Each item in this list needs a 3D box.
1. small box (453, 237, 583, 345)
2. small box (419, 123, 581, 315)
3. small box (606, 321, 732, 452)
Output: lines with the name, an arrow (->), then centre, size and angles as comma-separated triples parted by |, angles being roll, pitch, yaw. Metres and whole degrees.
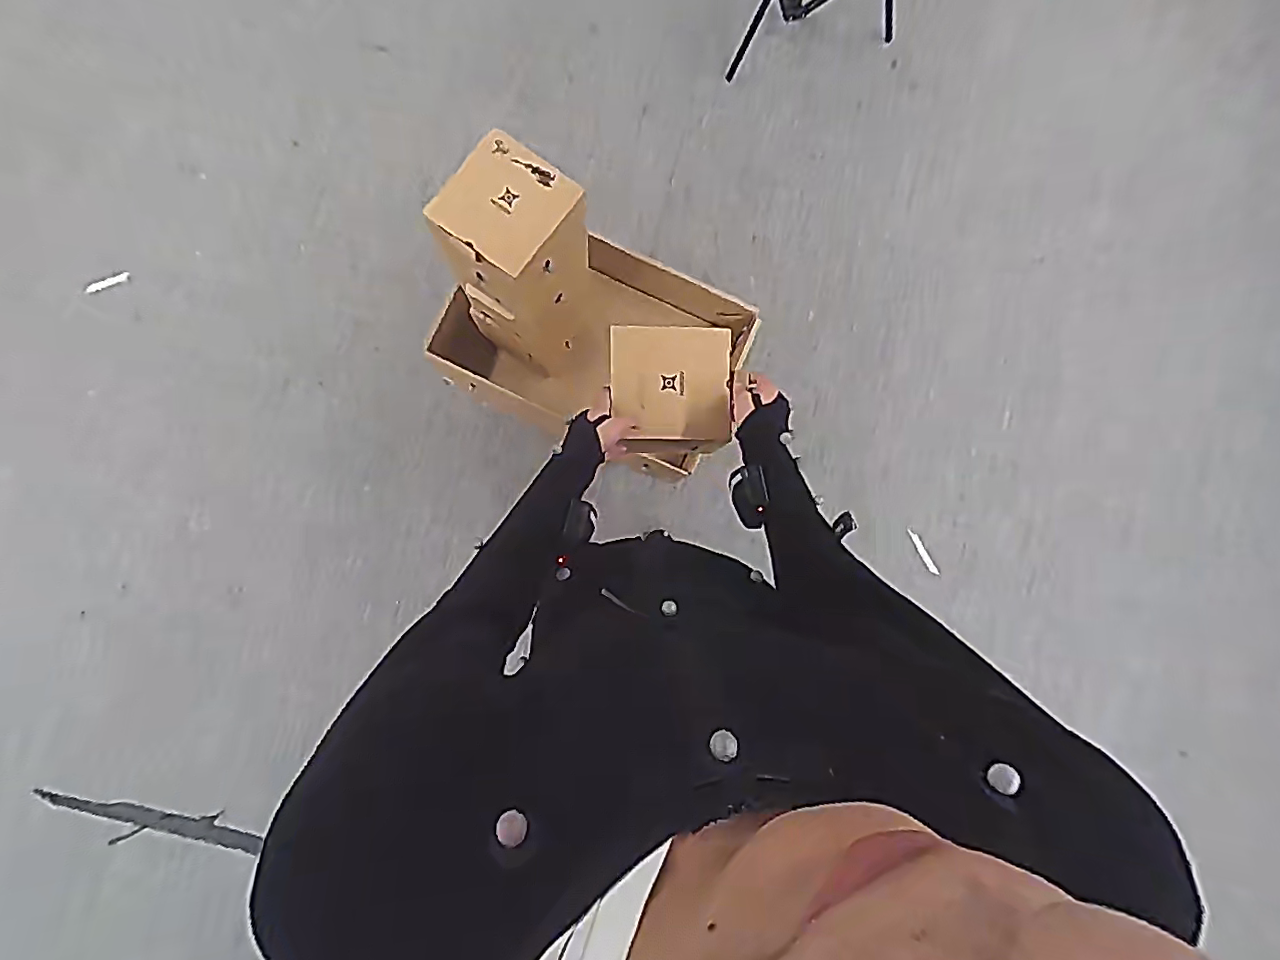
small box -> -0.215, -0.384, 1.015 | 0.168, 0.176, 0.179 | 32, 82, -1
small box -> -0.203, -0.394, 0.851 | 0.168, 0.176, 0.179 | 36, 83, 0
small box -> 0.038, -0.137, 0.845 | 0.179, 0.176, 0.168 | 1, 86, -4
